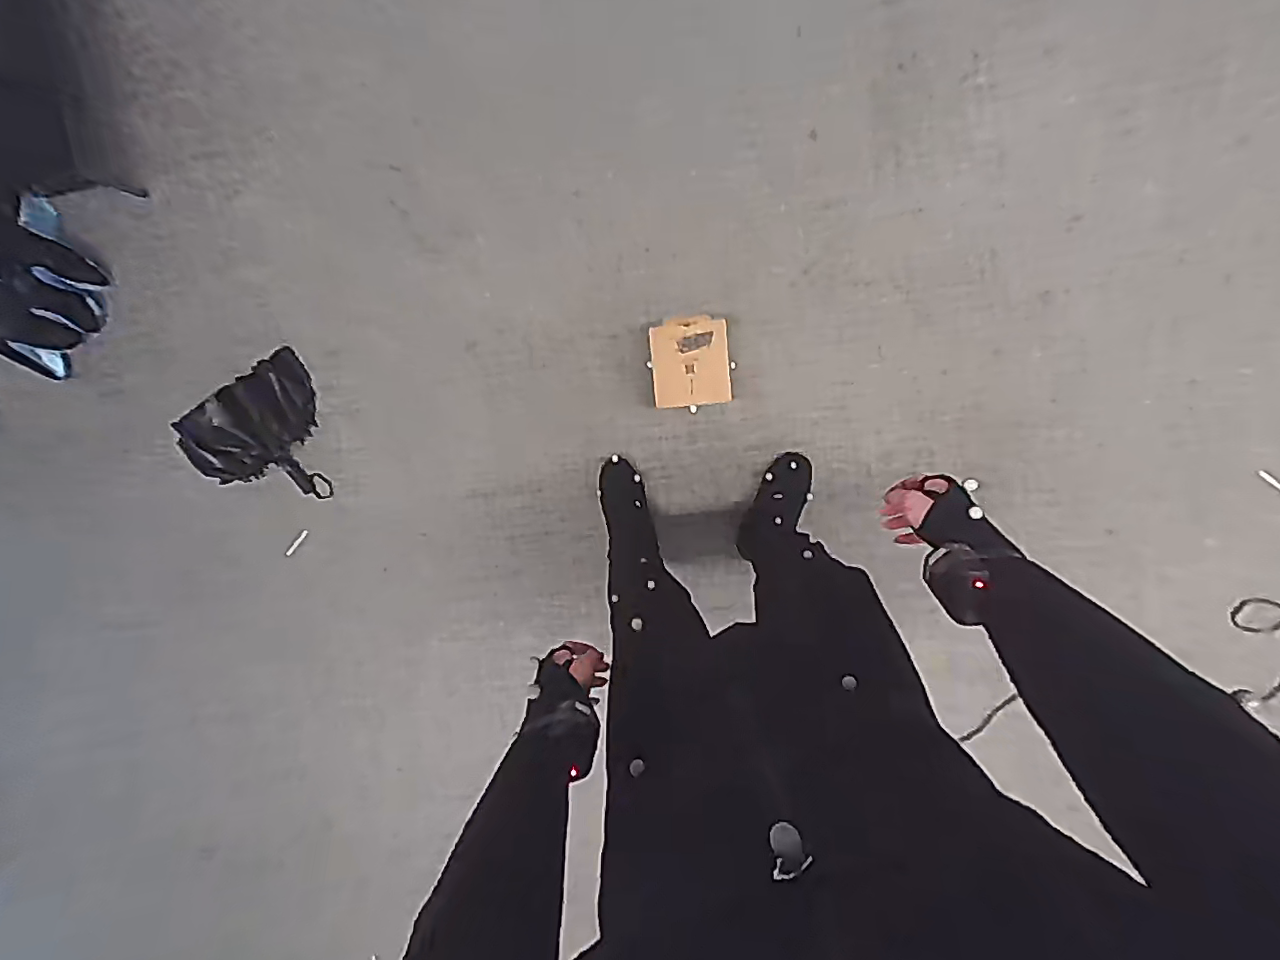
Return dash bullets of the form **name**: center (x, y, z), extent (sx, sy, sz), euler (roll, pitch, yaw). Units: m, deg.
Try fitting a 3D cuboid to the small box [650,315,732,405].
- **small box**: center (0.118, -0.265, 1.228), extent (0.168, 0.176, 0.179), euler (-5, 99, 10)
